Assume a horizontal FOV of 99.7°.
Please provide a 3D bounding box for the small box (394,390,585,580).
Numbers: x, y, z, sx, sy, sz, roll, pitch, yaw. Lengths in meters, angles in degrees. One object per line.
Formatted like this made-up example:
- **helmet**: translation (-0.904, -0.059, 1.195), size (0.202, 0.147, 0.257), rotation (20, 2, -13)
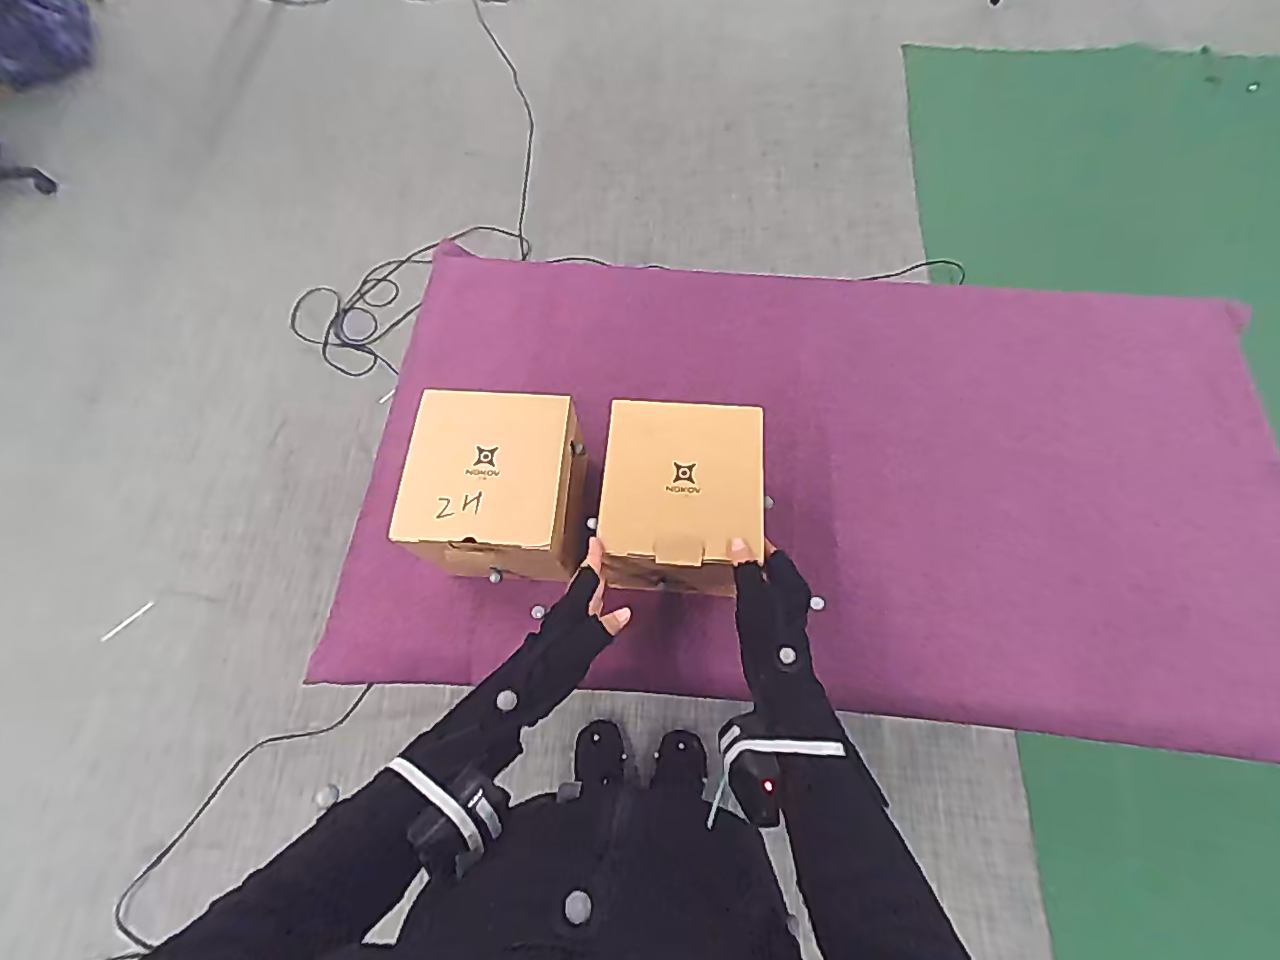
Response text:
- **small box**: translation (-0.161, 0.013, 0.647), size (0.168, 0.176, 0.179), rotation (3, 69, 2)

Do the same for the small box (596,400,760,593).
- **small box**: translation (0.044, 0.027, 0.639), size (0.168, 0.176, 0.179), rotation (4, 69, 3)
